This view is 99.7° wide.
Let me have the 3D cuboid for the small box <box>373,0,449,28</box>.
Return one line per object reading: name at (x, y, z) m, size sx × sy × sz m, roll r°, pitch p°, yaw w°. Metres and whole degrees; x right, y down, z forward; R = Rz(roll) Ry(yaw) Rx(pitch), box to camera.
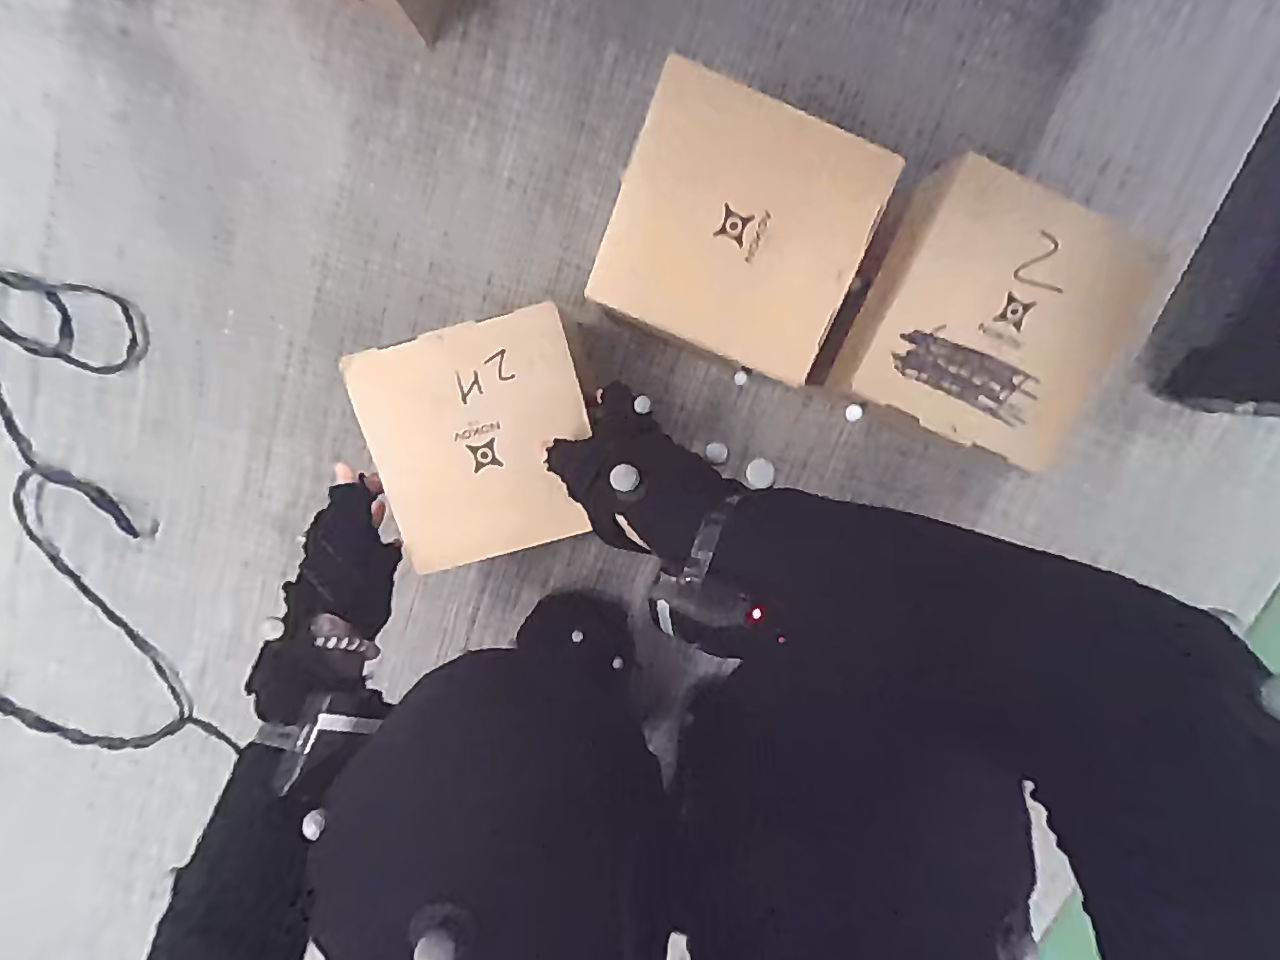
small box at (-0.215, -0.498, 0.389) m, size 0.168 × 0.176 × 0.179 m, roll 28°, pitch 101°, yaw -4°
